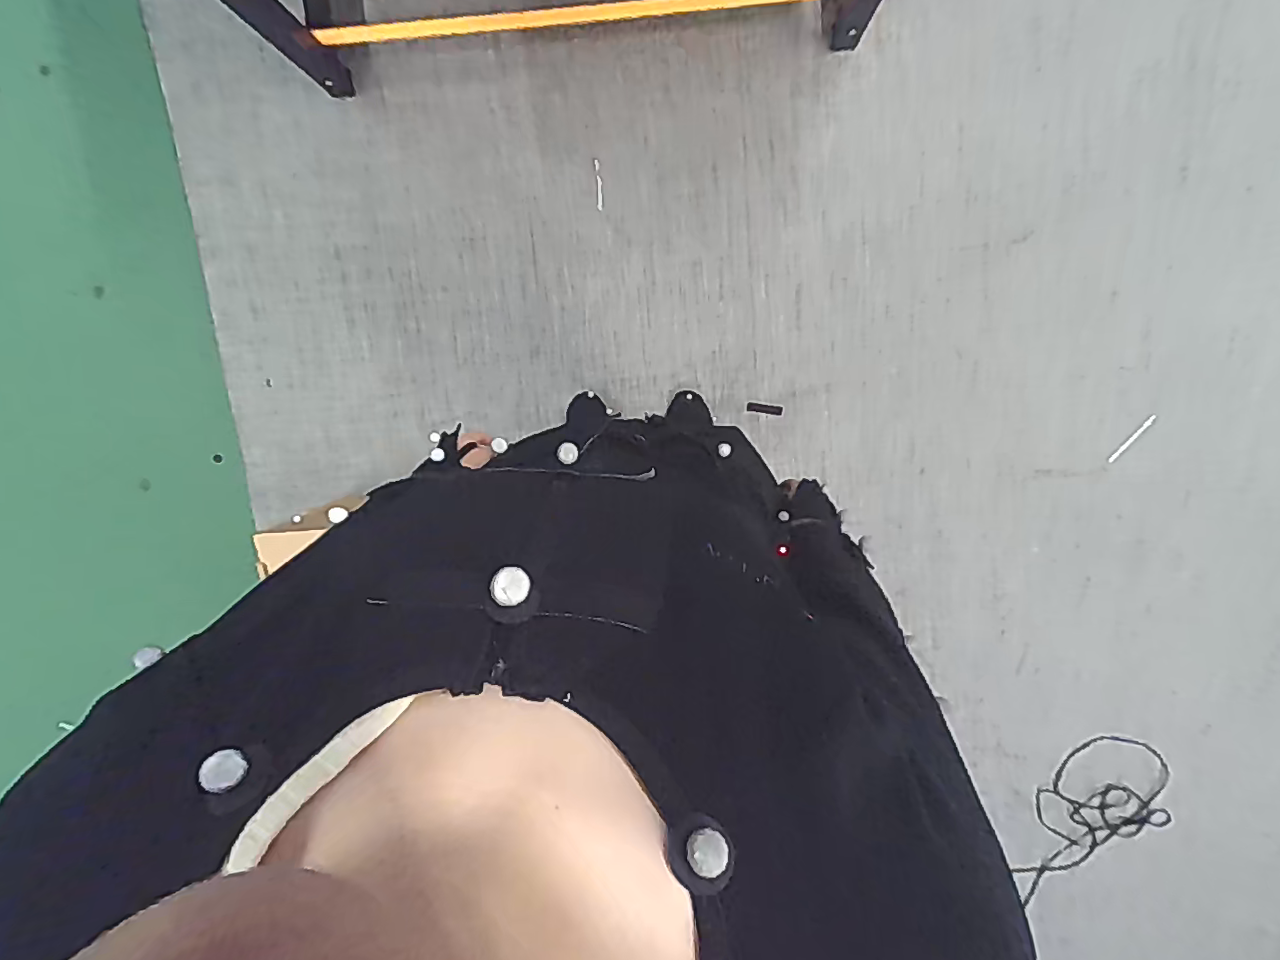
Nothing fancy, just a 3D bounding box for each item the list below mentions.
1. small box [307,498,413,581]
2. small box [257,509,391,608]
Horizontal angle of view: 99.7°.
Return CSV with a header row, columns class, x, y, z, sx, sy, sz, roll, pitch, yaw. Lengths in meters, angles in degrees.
class,x,y,z,sx,sy,sz,roll,pitch,yaw
small box,-0.686,0.142,1.343,0.168,0.176,0.179,-2,101,4
small box,-0.680,0.166,1.181,0.179,0.176,0.168,-5,101,3
